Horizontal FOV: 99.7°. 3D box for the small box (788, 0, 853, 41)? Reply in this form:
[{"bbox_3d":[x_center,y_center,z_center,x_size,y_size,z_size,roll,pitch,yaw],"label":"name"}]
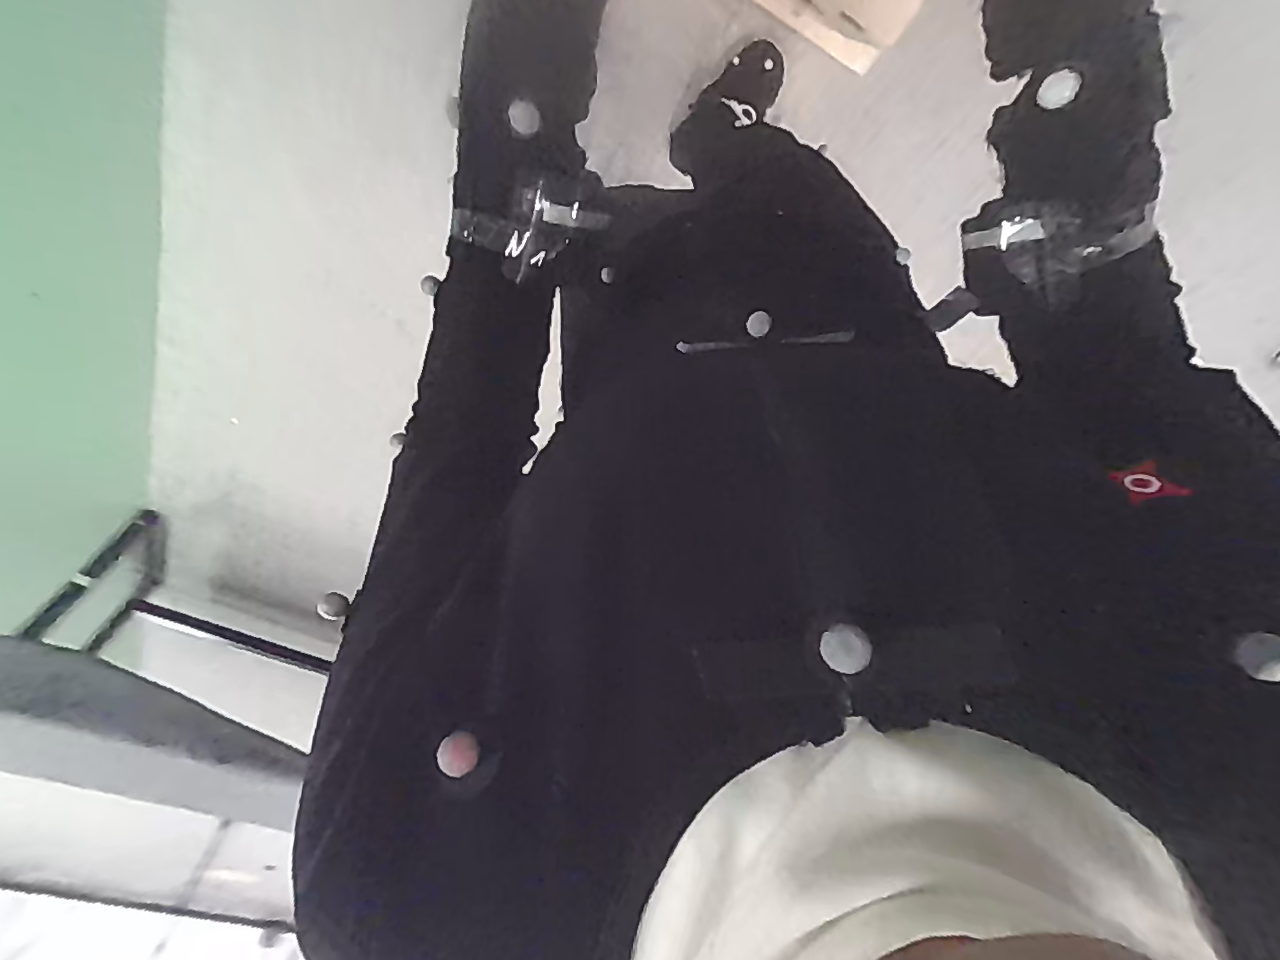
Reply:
[{"bbox_3d":[0.230,-0.666,0.633,0.179,0.176,0.168,27,129,-17],"label":"small box"}]

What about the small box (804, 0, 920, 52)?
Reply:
[{"bbox_3d":[0.217,-0.557,0.513,0.168,0.176,0.179,25,130,-16],"label":"small box"}]
